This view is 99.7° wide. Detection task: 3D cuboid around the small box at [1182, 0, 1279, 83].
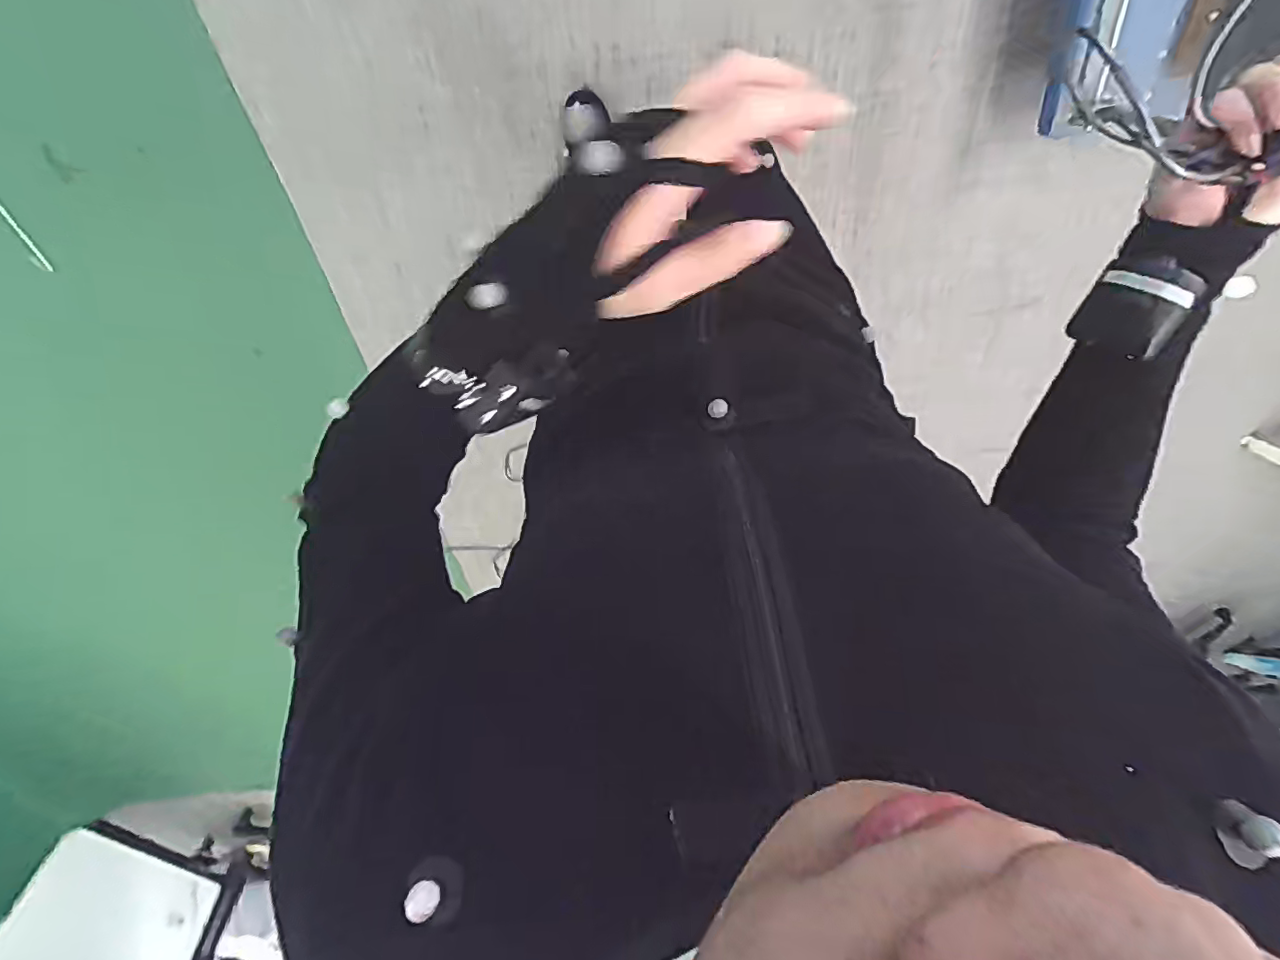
[{"bbox_3d":[1.134,-0.818,0.943,0.179,0.176,0.168,-9,131,5],"label":"small box"}]
